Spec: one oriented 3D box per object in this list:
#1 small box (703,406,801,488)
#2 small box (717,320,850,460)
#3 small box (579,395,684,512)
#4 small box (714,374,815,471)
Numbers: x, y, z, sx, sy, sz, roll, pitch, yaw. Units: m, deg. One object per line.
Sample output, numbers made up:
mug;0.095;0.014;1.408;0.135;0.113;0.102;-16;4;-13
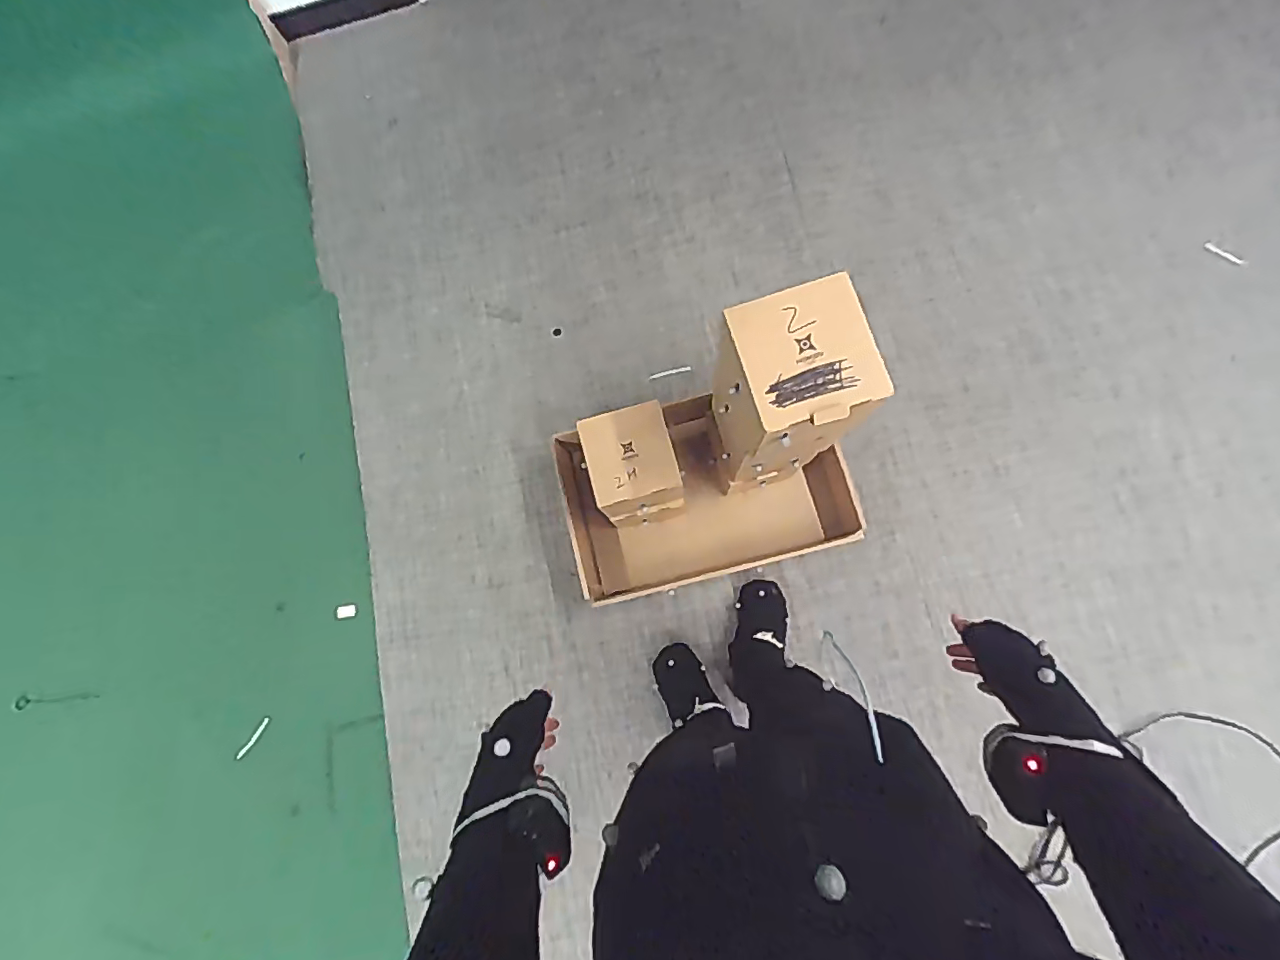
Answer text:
small box;0.251;-0.087;1.239;0.168;0.176;0.179;-19;79;4
small box;0.231;-0.139;0.915;0.168;0.176;0.179;-14;79;3
small box;-0.014;-0.045;1.087;0.168;0.176;0.179;-15;79;2
small box;0.246;-0.122;1.060;0.168;0.176;0.179;-15;79;3
